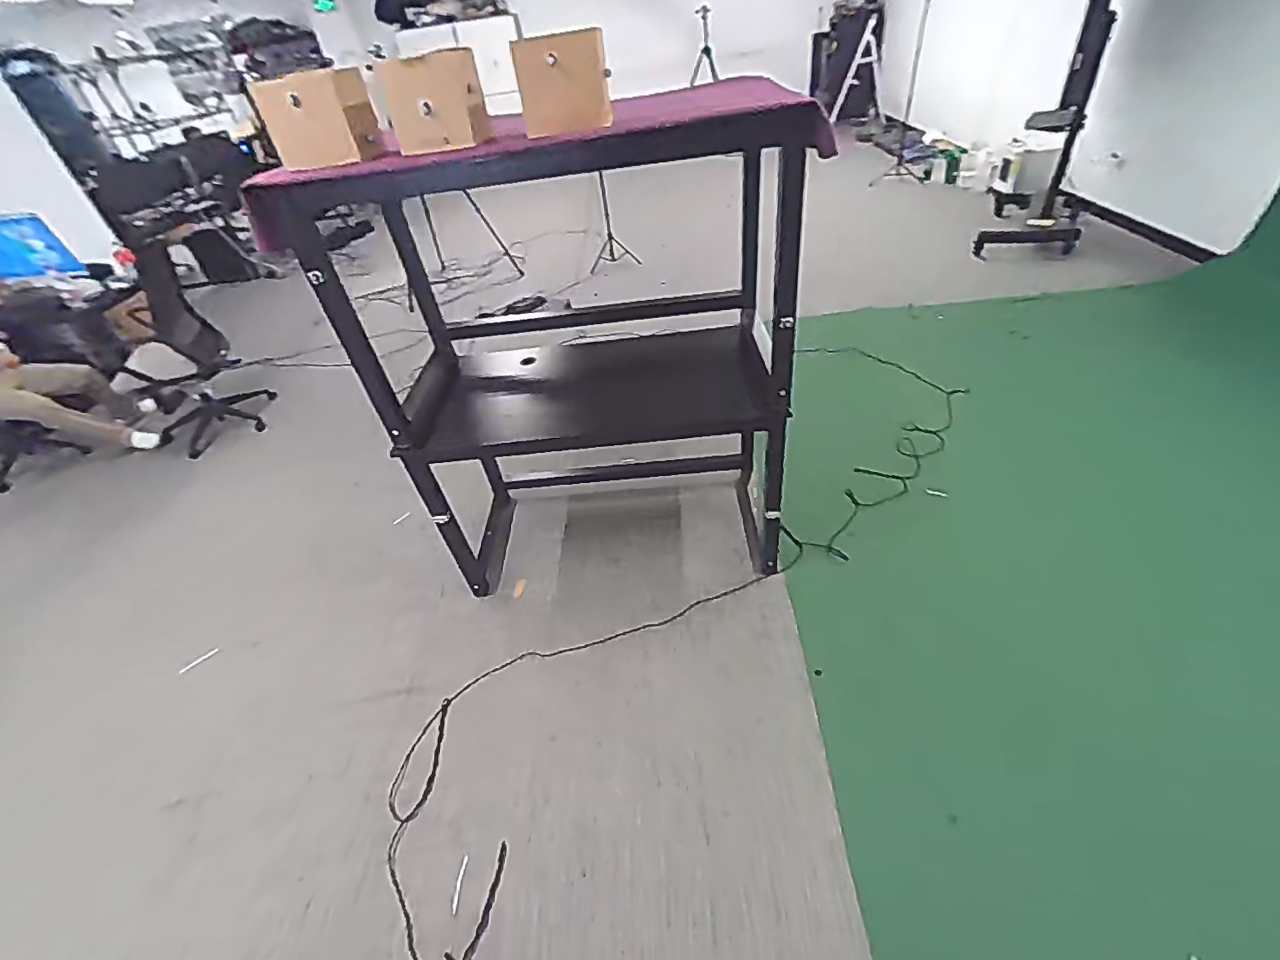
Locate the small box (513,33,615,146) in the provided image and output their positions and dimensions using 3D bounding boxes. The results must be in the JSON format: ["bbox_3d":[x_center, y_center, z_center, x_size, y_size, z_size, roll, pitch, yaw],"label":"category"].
[{"bbox_3d":[-0.151,-0.837,1.159,0.179,0.176,0.168,-5,39,6],"label":"small box"}]

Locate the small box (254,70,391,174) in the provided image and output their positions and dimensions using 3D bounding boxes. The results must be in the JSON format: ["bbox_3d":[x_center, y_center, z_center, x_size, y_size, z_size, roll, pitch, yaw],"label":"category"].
[{"bbox_3d":[-0.692,-0.794,1.202,0.179,0.176,0.168,-5,40,3],"label":"small box"}]

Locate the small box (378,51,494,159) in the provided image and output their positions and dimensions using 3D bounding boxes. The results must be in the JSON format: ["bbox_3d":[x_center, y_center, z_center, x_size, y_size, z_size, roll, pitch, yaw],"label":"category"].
[{"bbox_3d":[-0.432,-0.815,1.181,0.168,0.176,0.179,-5,39,4],"label":"small box"}]
